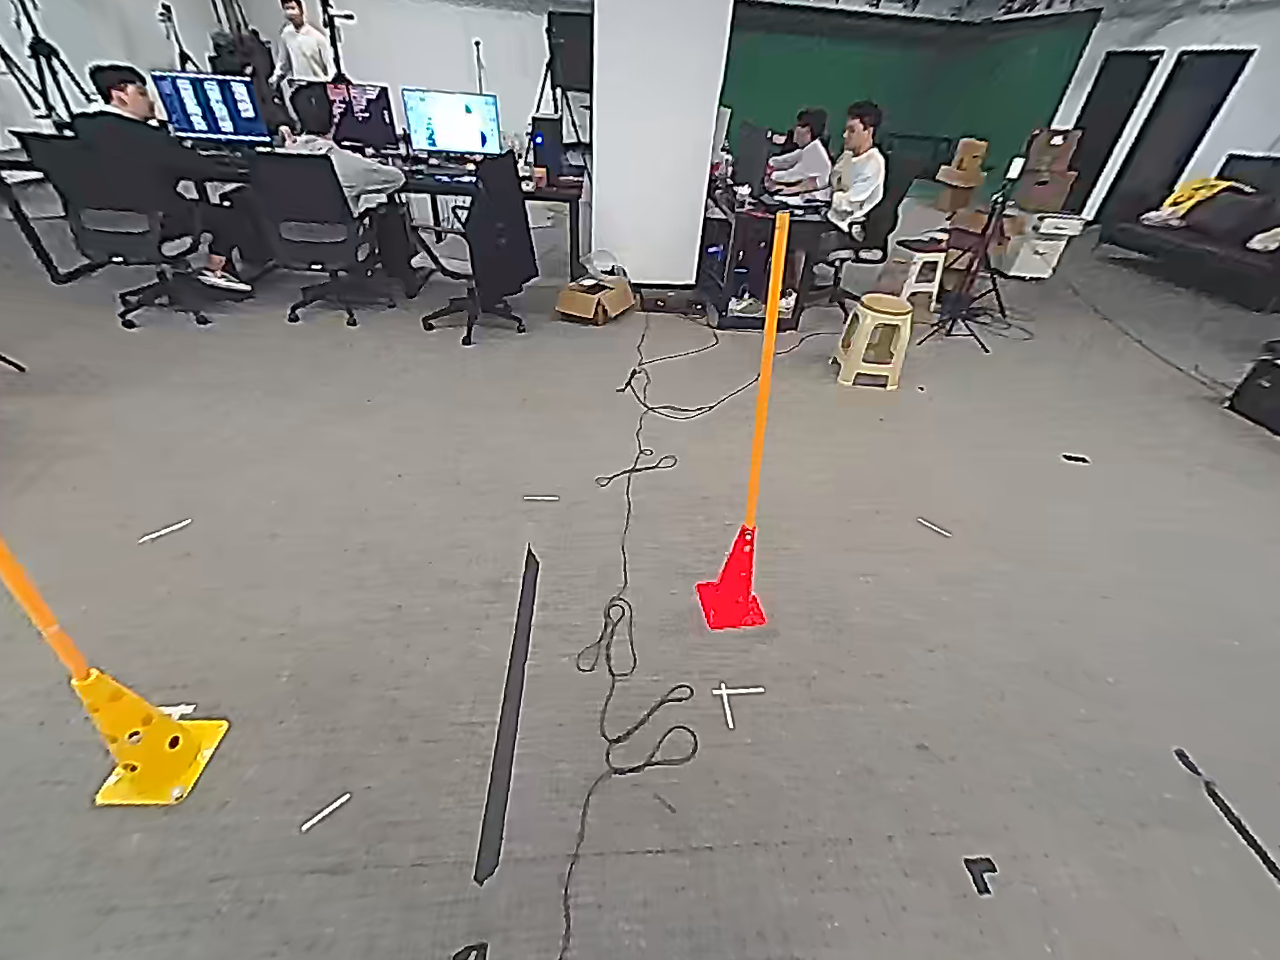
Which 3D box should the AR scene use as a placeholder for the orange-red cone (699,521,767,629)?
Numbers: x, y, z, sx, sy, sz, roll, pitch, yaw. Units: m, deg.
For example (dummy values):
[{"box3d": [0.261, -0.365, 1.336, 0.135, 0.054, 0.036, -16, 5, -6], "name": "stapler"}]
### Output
[{"box3d": [0.317, 0.277, 1.705, 0.199, 0.360, 0.198, -3, 37, -8], "name": "orange-red cone"}]
